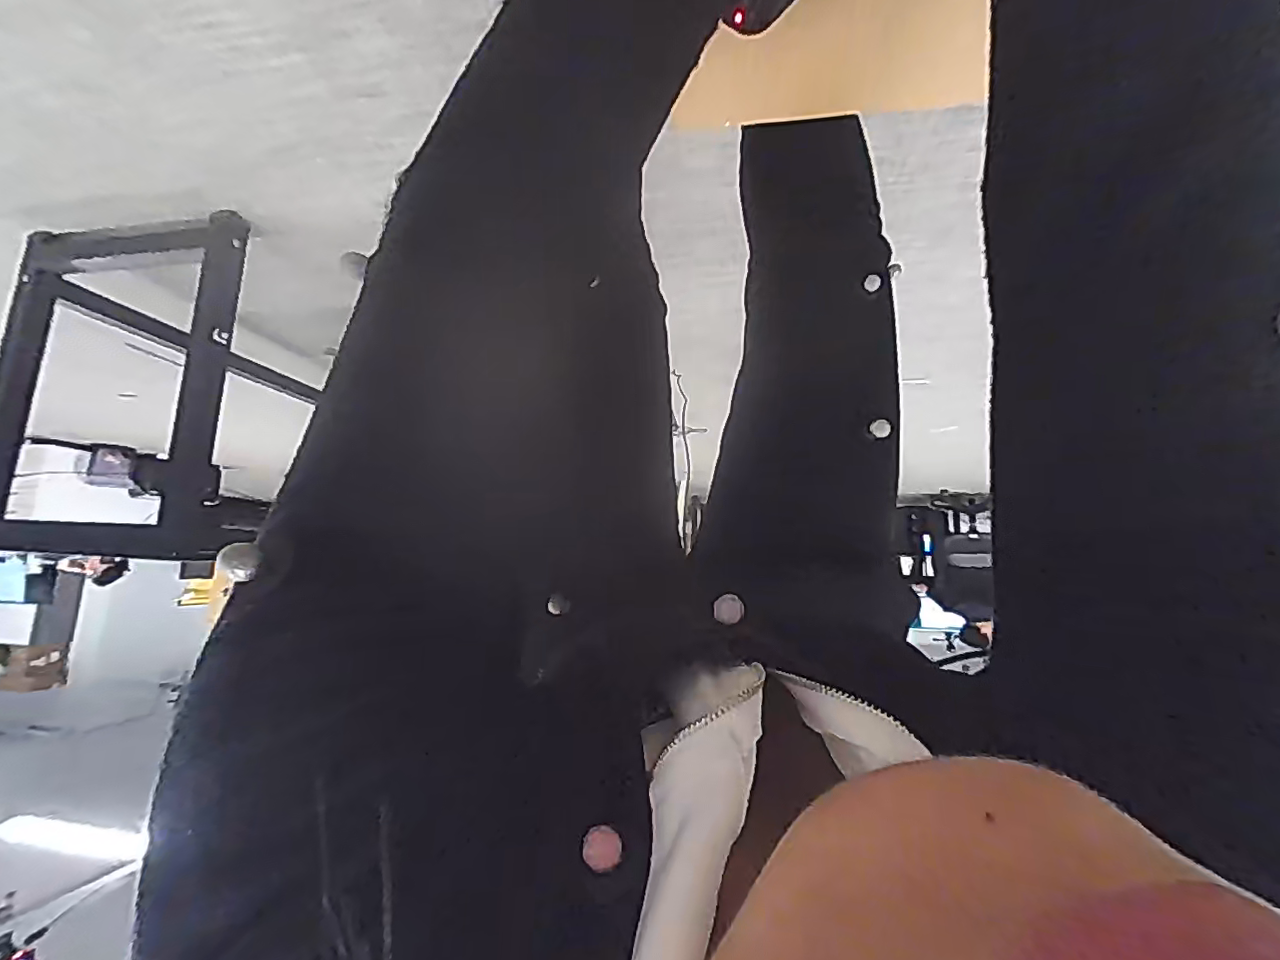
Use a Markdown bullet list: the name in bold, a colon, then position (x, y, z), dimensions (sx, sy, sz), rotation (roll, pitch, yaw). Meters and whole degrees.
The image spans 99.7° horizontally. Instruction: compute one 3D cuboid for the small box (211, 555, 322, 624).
- **small box**: position (-0.992, 0.287, 1.448), dimensions (0.168, 0.176, 0.179), rotation (2, 172, 10)
